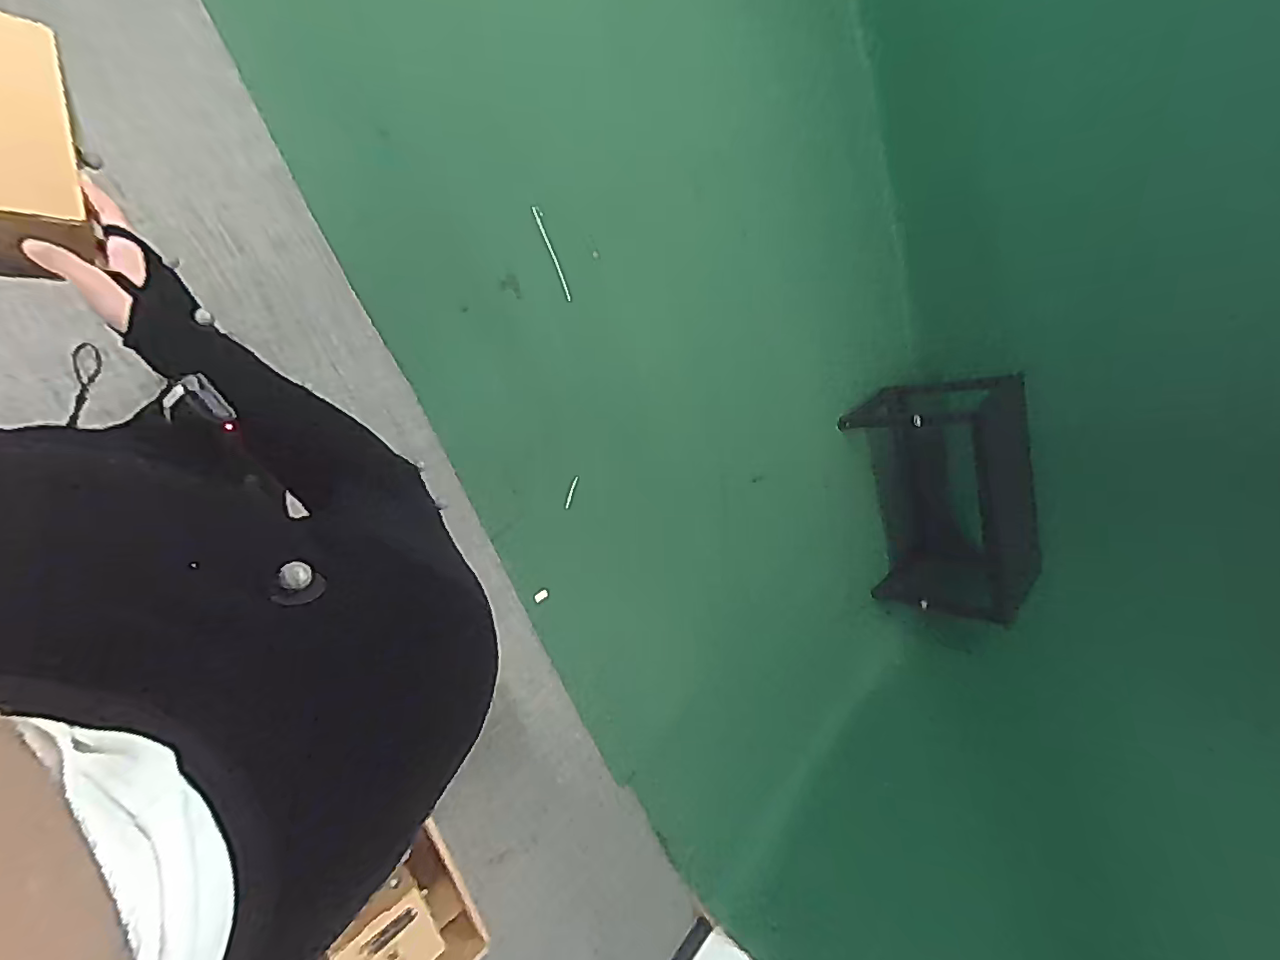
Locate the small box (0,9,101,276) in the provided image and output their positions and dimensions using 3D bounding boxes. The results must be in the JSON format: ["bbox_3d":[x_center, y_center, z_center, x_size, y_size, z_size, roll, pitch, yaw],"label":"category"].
[{"bbox_3d":[-0.624,-0.307,0.493,0.168,0.176,0.179,-11,96,-41],"label":"small box"}]
